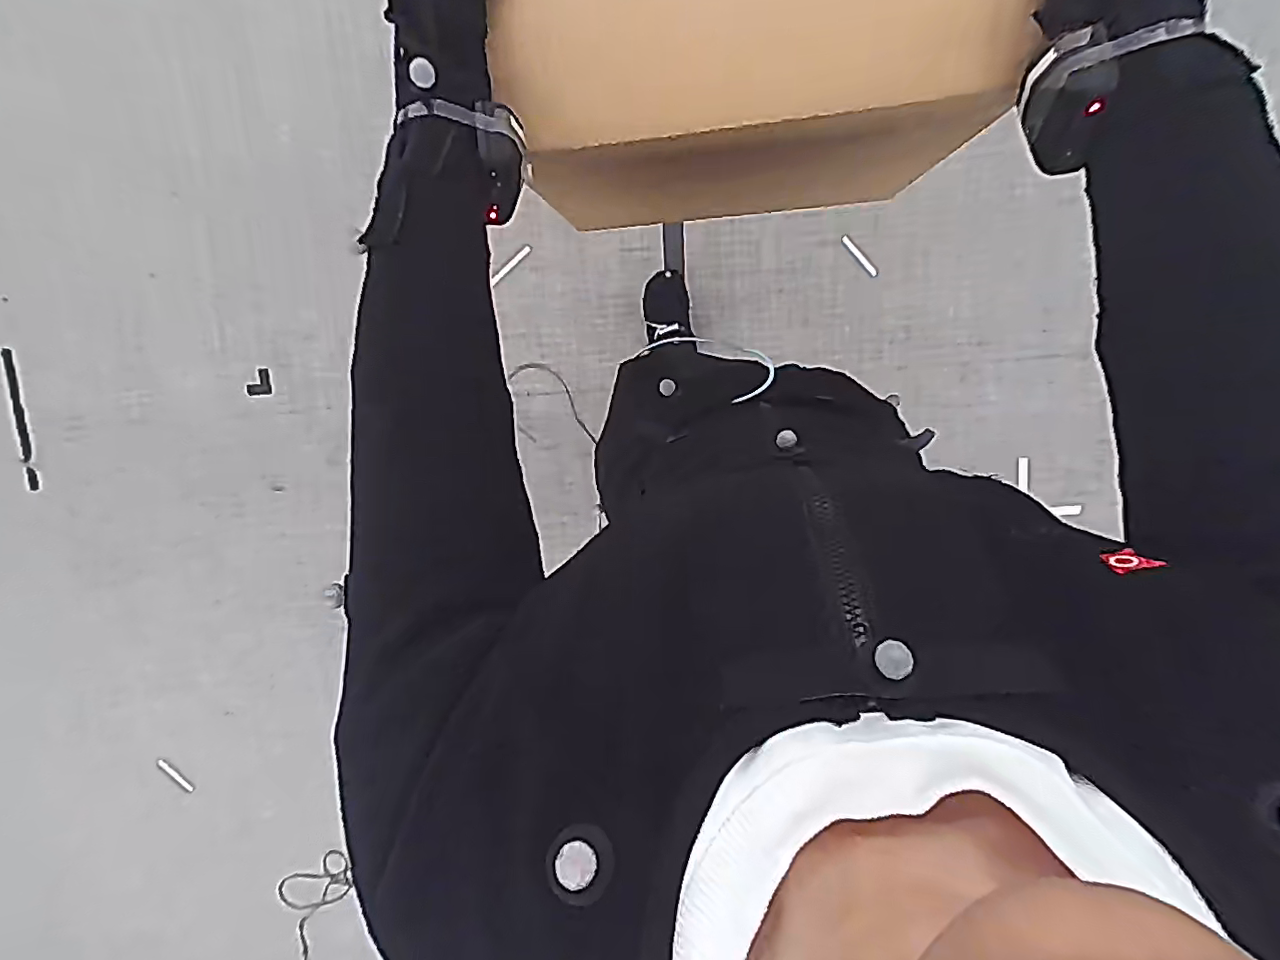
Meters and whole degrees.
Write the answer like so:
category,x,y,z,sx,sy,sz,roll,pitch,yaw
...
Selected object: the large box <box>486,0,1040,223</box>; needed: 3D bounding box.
category,x,y,z,sx,sy,sz,roll,pitch,yaw
large box,0.085,-0.466,0.518,0.408,0.320,0.320,-4,104,6
